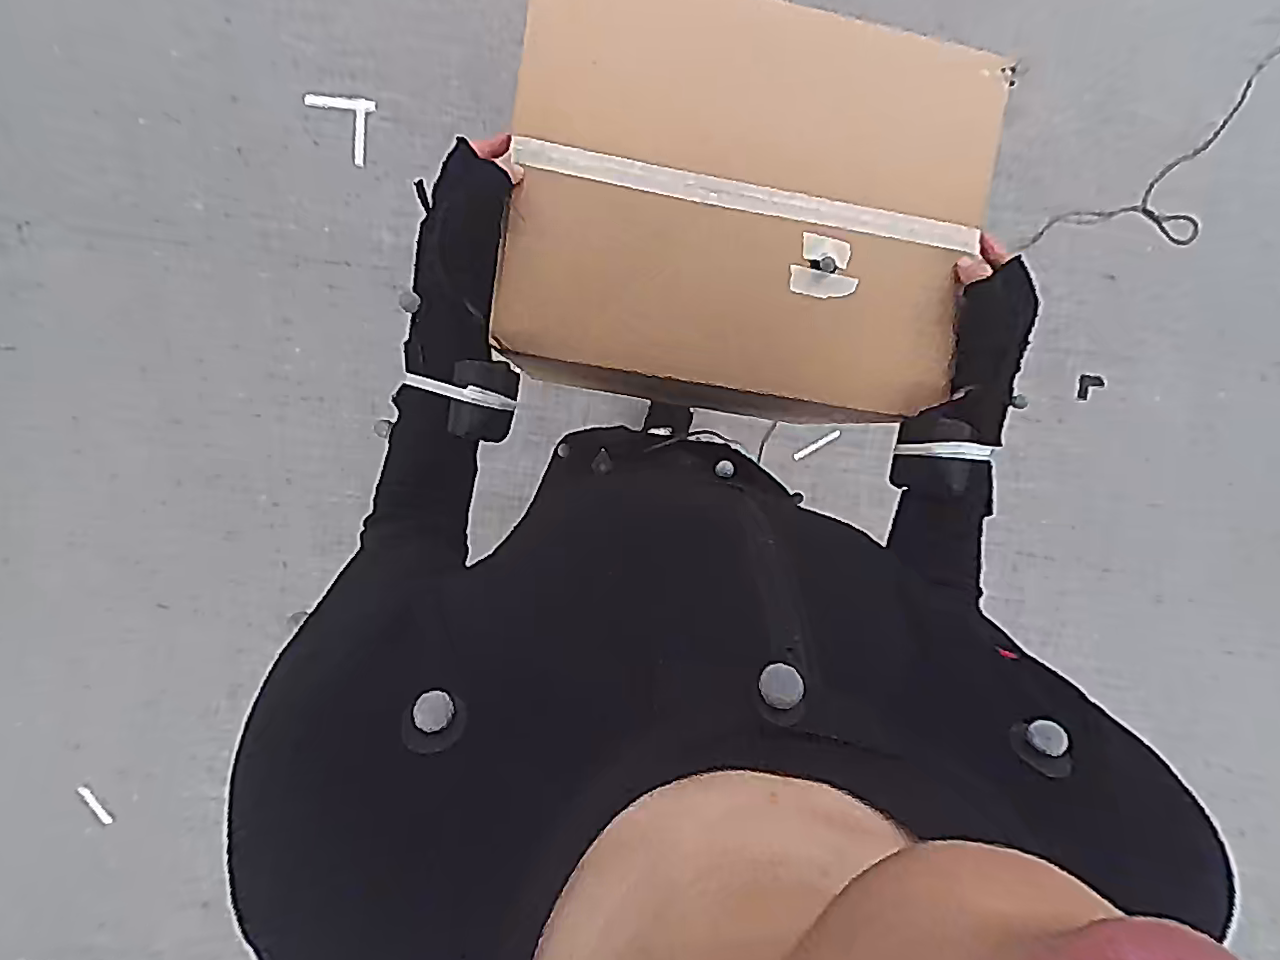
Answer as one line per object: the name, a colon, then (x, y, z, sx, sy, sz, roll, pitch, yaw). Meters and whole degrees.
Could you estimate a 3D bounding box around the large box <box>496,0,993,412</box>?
large box: (0.076, -0.258, 0.607, 0.408, 0.320, 0.320, 8, 96, -7)
